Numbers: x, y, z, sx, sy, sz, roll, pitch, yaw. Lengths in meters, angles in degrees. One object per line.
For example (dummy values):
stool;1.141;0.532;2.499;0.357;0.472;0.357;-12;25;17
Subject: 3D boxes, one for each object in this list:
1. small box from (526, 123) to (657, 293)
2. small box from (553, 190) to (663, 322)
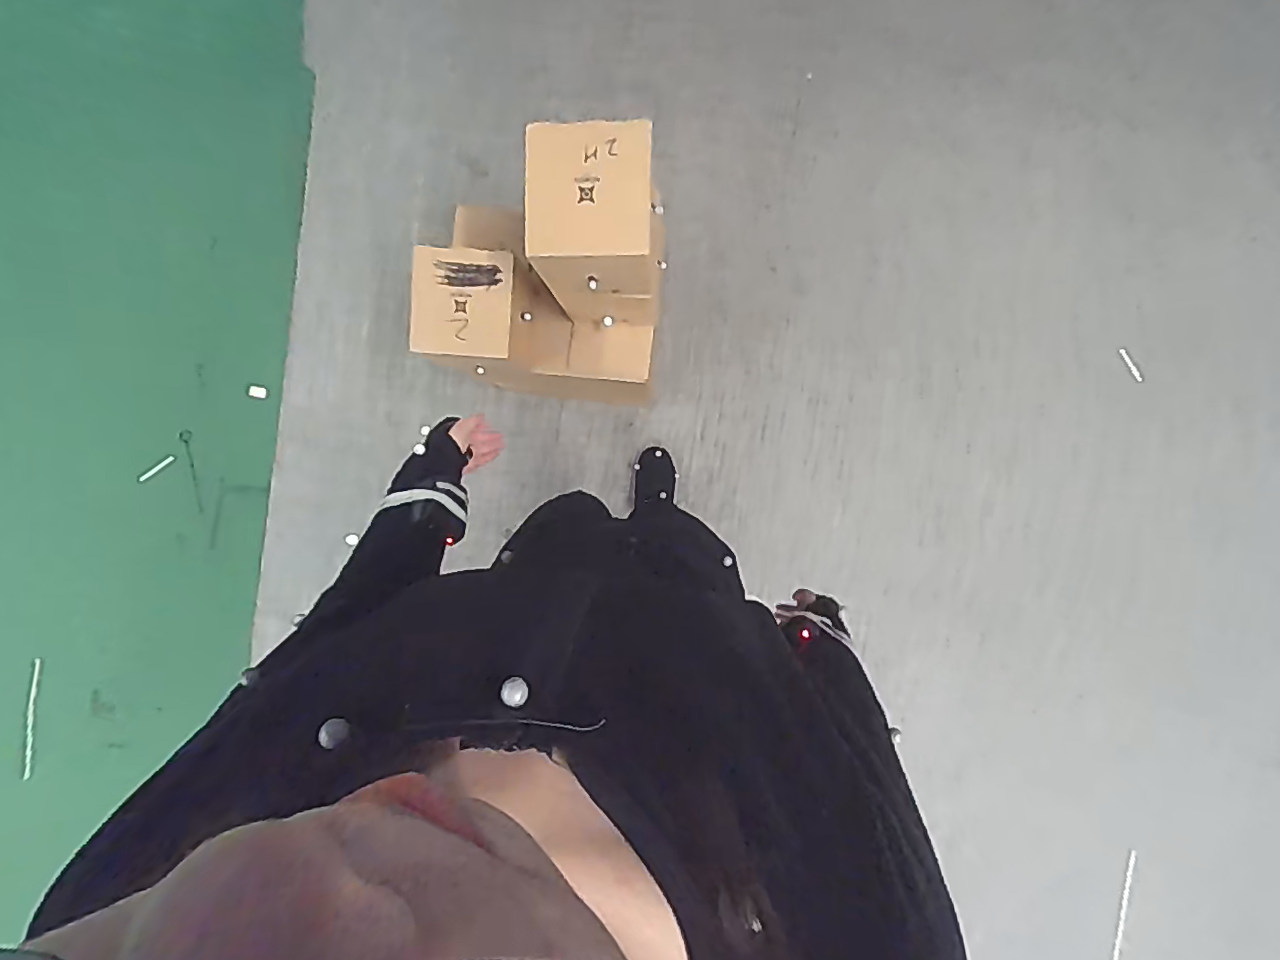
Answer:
small box;-0.062;-0.383;0.790;0.168;0.176;0.179;2;92;4
small box;-0.048;-0.390;0.954;0.168;0.176;0.179;5;95;5
